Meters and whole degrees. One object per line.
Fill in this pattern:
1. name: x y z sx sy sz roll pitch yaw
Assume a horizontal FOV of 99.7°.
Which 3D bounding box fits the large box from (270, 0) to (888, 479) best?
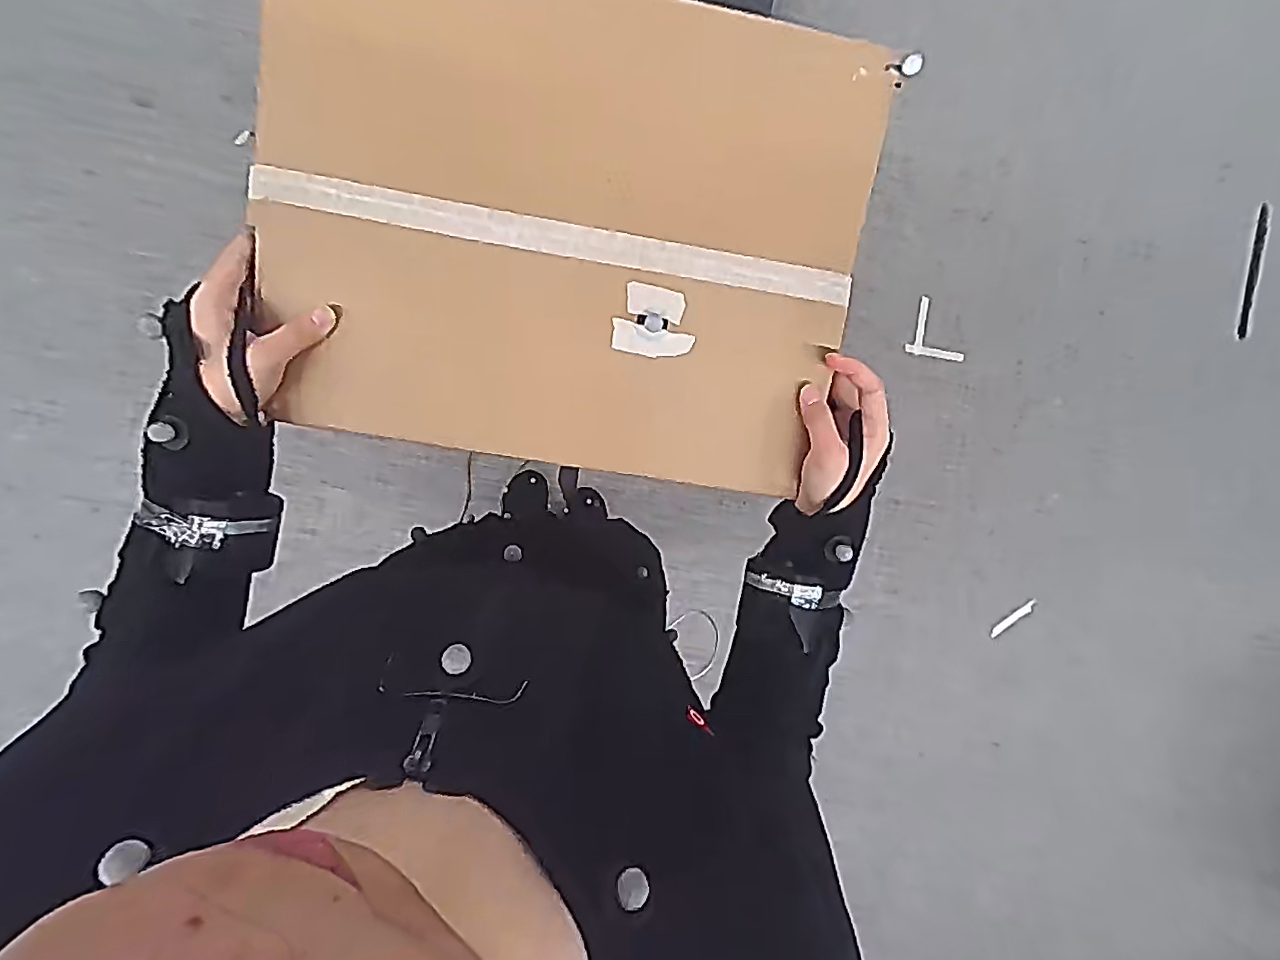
1. large box: -0.059 -0.204 0.523 0.408 0.320 0.320 9 102 -6
